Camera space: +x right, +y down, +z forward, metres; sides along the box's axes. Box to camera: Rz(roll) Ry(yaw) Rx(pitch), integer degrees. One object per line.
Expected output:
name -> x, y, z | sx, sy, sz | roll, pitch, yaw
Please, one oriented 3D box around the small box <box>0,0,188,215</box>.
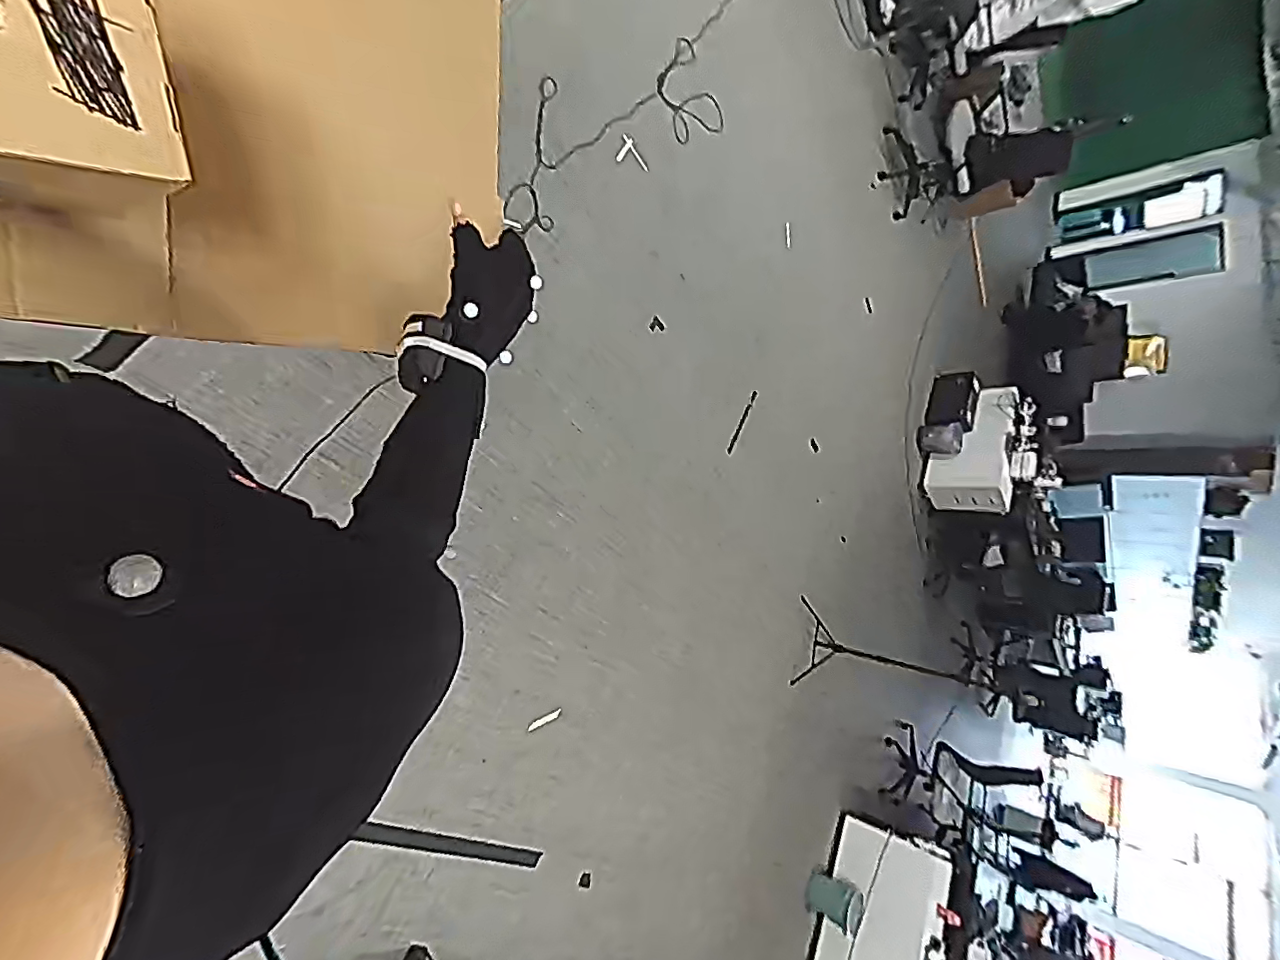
small box -> -0.438, -0.278, 0.343 | 0.179, 0.176, 0.168 | -20, 113, -52
